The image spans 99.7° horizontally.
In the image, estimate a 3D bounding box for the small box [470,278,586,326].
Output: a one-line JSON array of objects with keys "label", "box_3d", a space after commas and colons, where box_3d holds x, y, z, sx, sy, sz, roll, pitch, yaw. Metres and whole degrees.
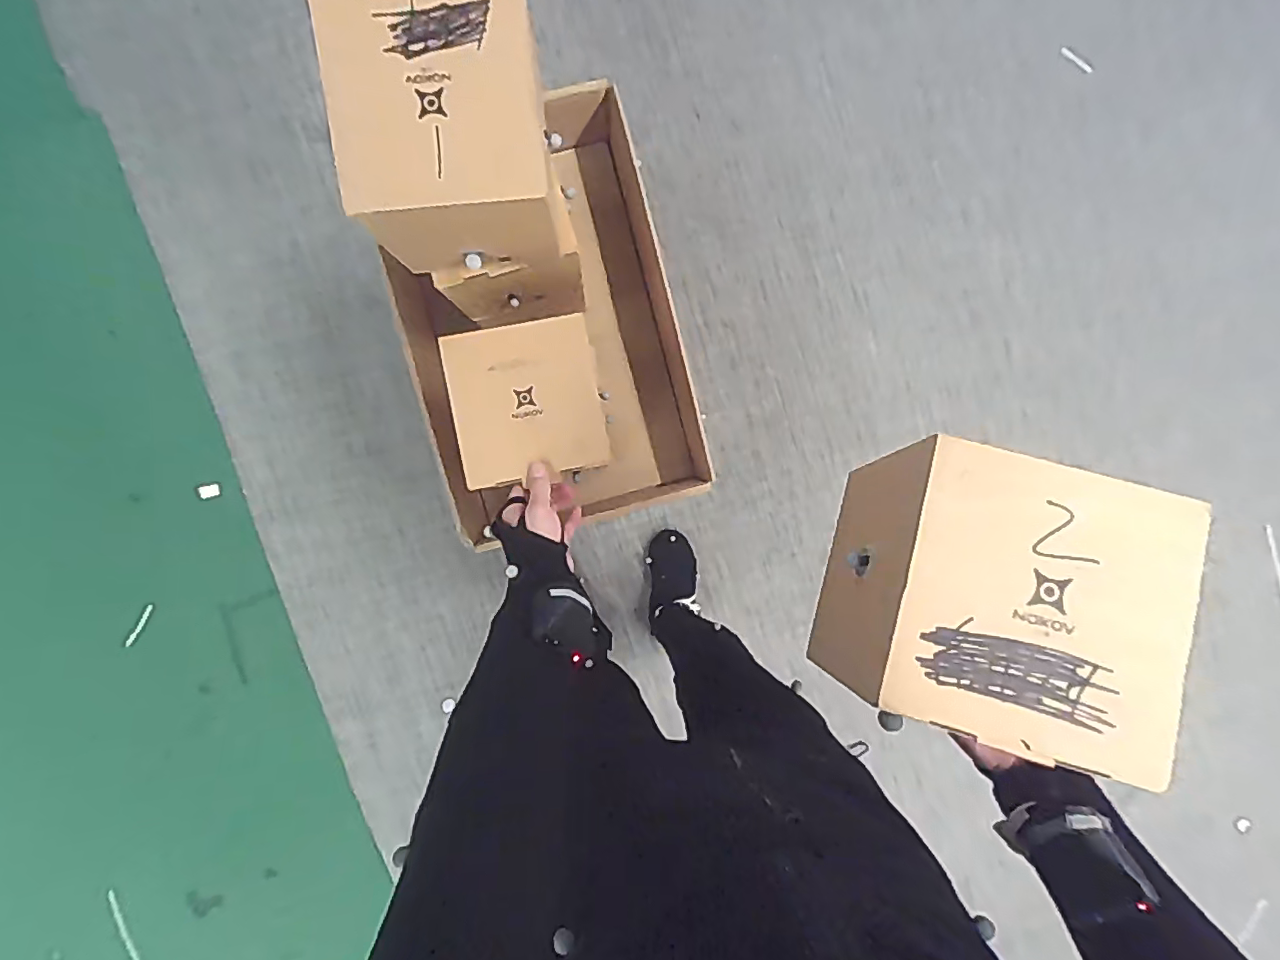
[{"label": "small box", "box_3d": [-0.185, -0.341, 0.840, 0.168, 0.176, 0.179, -16, 95, -1]}]

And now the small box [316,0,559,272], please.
[{"label": "small box", "box_3d": [-0.172, -0.316, 0.515, 0.168, 0.176, 0.179, -7, 96, -3]}]

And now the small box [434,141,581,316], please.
[{"label": "small box", "box_3d": [-0.176, -0.326, 0.679, 0.168, 0.176, 0.179, -16, 96, -3]}]

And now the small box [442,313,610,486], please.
[{"label": "small box", "box_3d": [-0.131, -0.094, 0.690, 0.168, 0.176, 0.179, -10, 91, -3]}]
